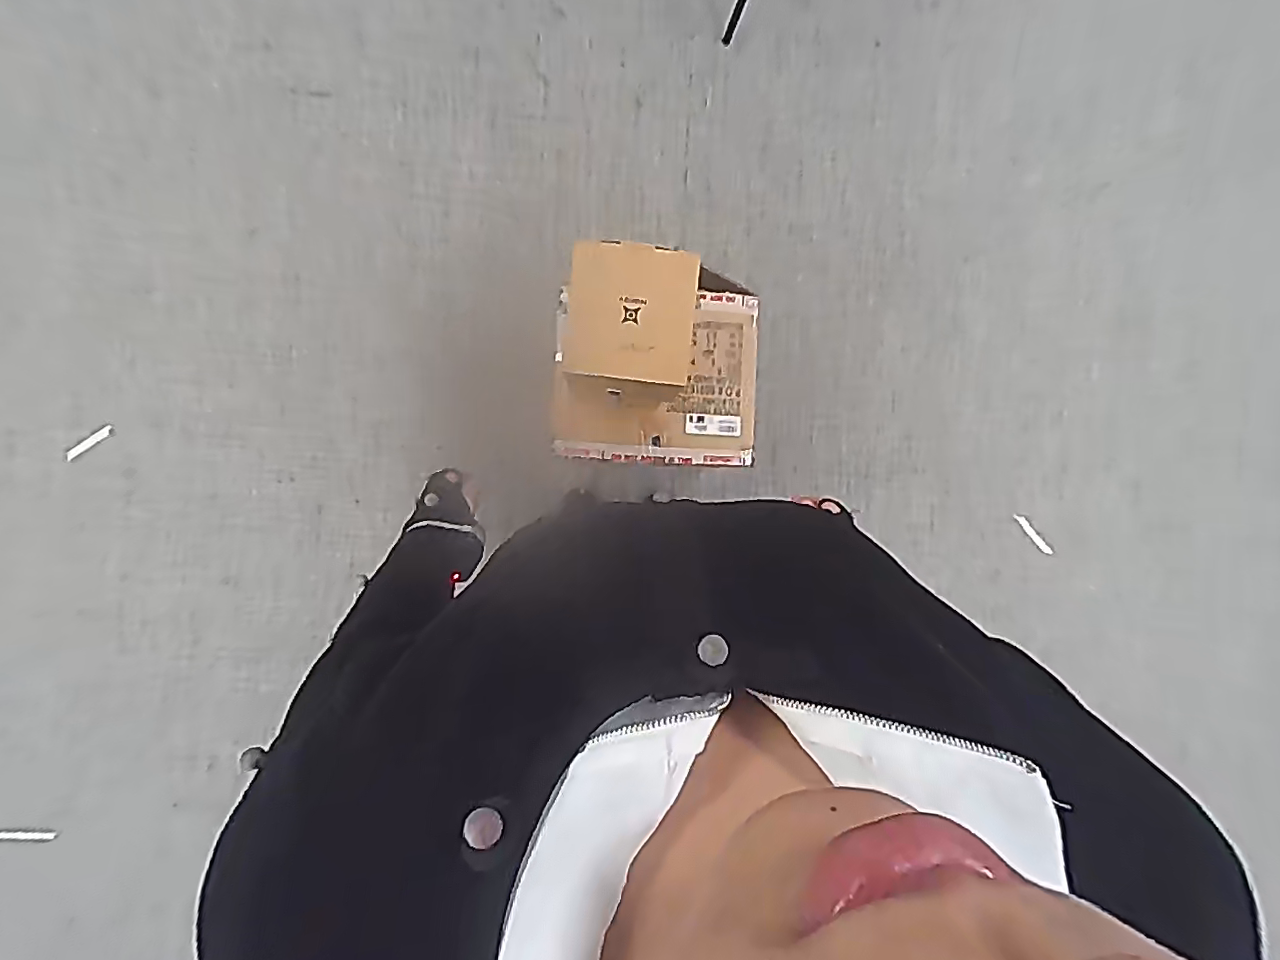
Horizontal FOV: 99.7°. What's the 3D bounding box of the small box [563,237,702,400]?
[{"bbox_3d":[-0.012,-0.217,0.769,0.168,0.176,0.179,6,92,-2],"label":"small box"}]
